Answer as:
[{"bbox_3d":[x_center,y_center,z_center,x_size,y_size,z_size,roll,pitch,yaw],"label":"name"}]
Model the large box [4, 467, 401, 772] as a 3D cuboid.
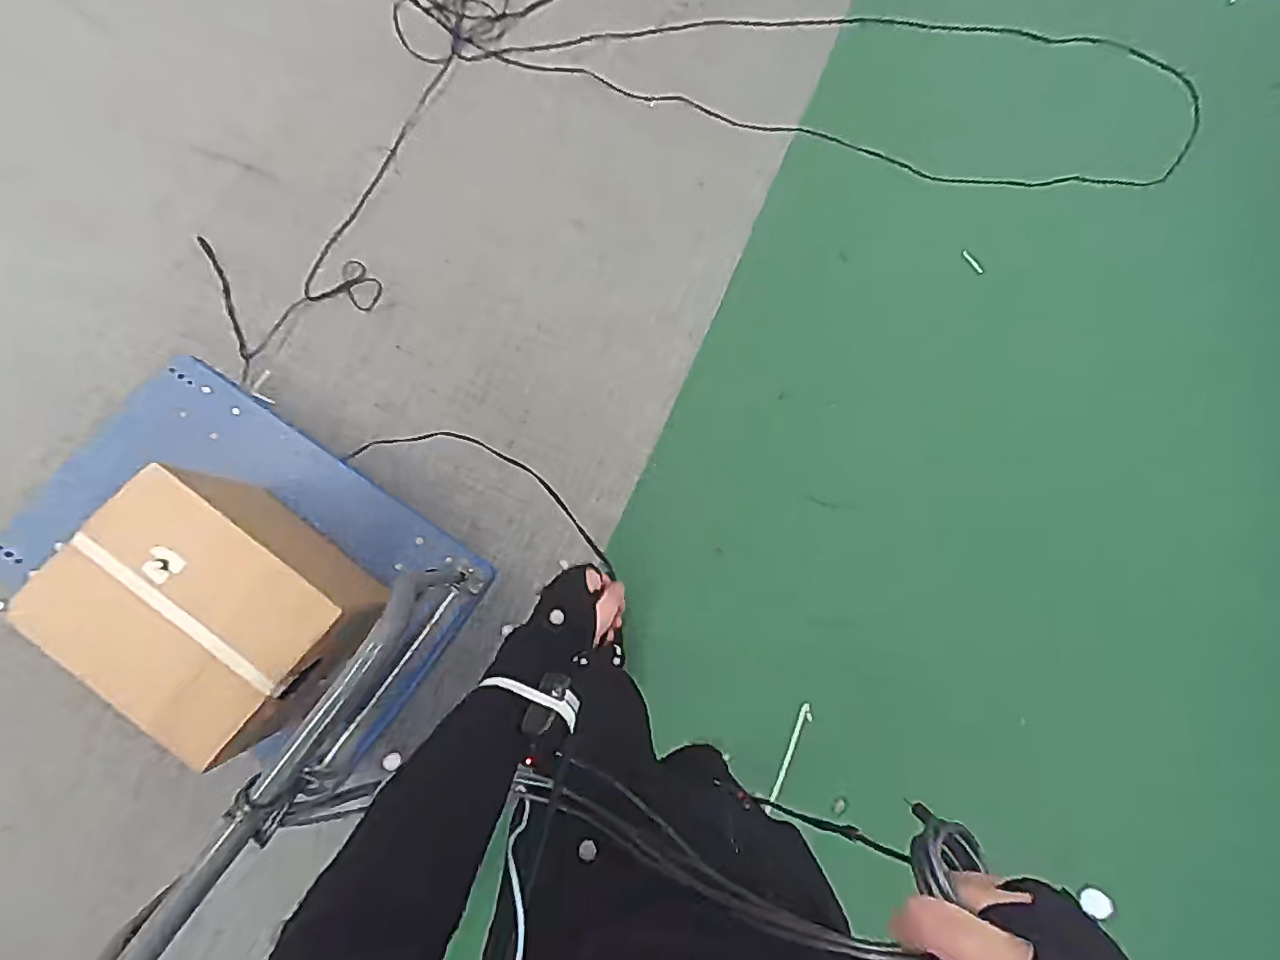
[{"bbox_3d":[-0.741,0.236,0.997,0.408,0.320,0.320,38,78,1],"label":"large box"}]
